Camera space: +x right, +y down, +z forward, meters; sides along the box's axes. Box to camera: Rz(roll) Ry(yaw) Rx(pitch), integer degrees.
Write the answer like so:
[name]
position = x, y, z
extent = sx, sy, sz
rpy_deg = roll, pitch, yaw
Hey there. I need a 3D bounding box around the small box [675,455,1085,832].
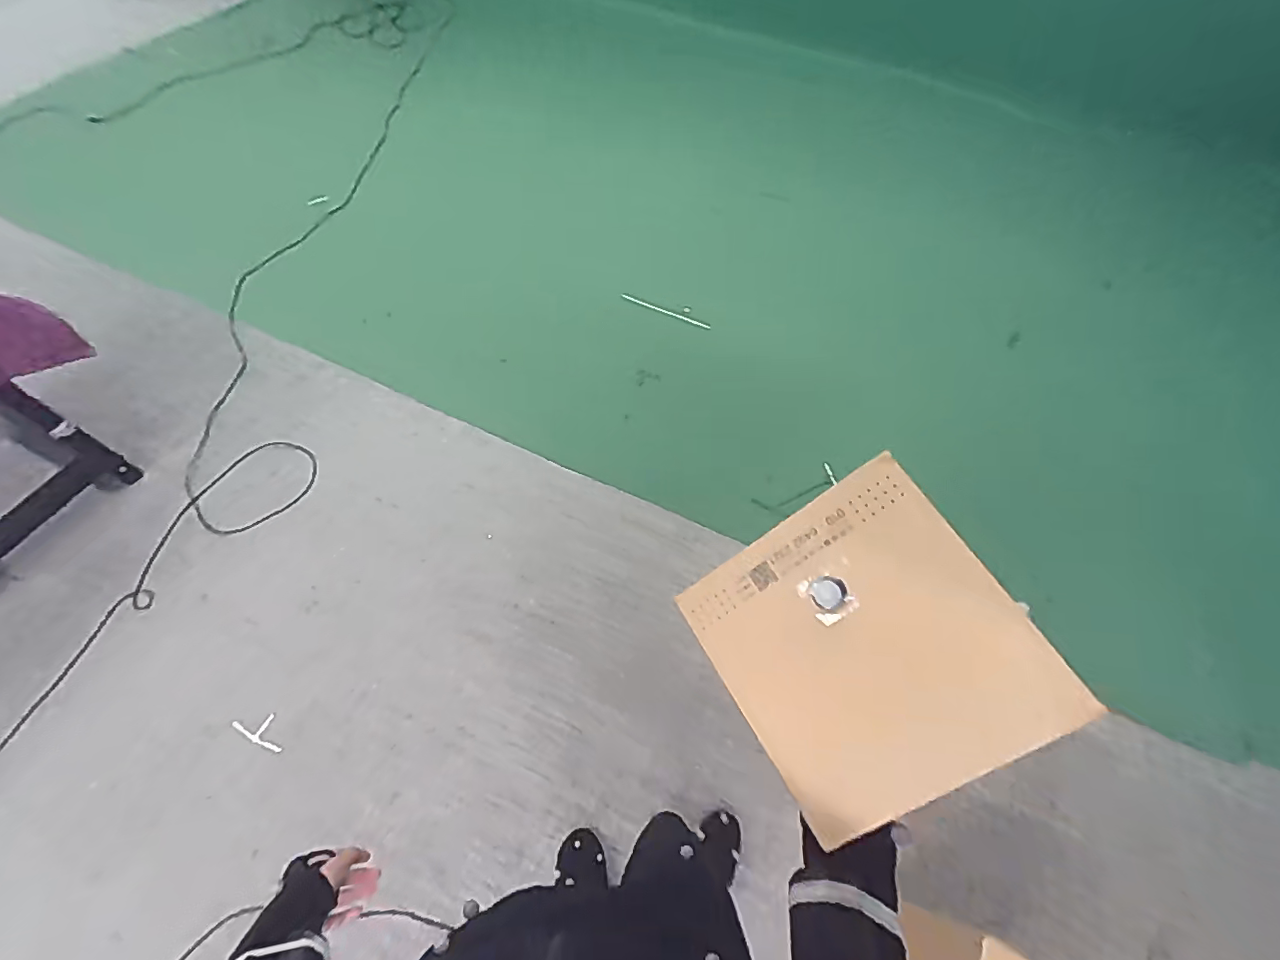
[small box]
position = 0.155, 0.101, 0.392
extent = 0.168, 0.179, 0.176
rpy_deg = -39, 68, 16
